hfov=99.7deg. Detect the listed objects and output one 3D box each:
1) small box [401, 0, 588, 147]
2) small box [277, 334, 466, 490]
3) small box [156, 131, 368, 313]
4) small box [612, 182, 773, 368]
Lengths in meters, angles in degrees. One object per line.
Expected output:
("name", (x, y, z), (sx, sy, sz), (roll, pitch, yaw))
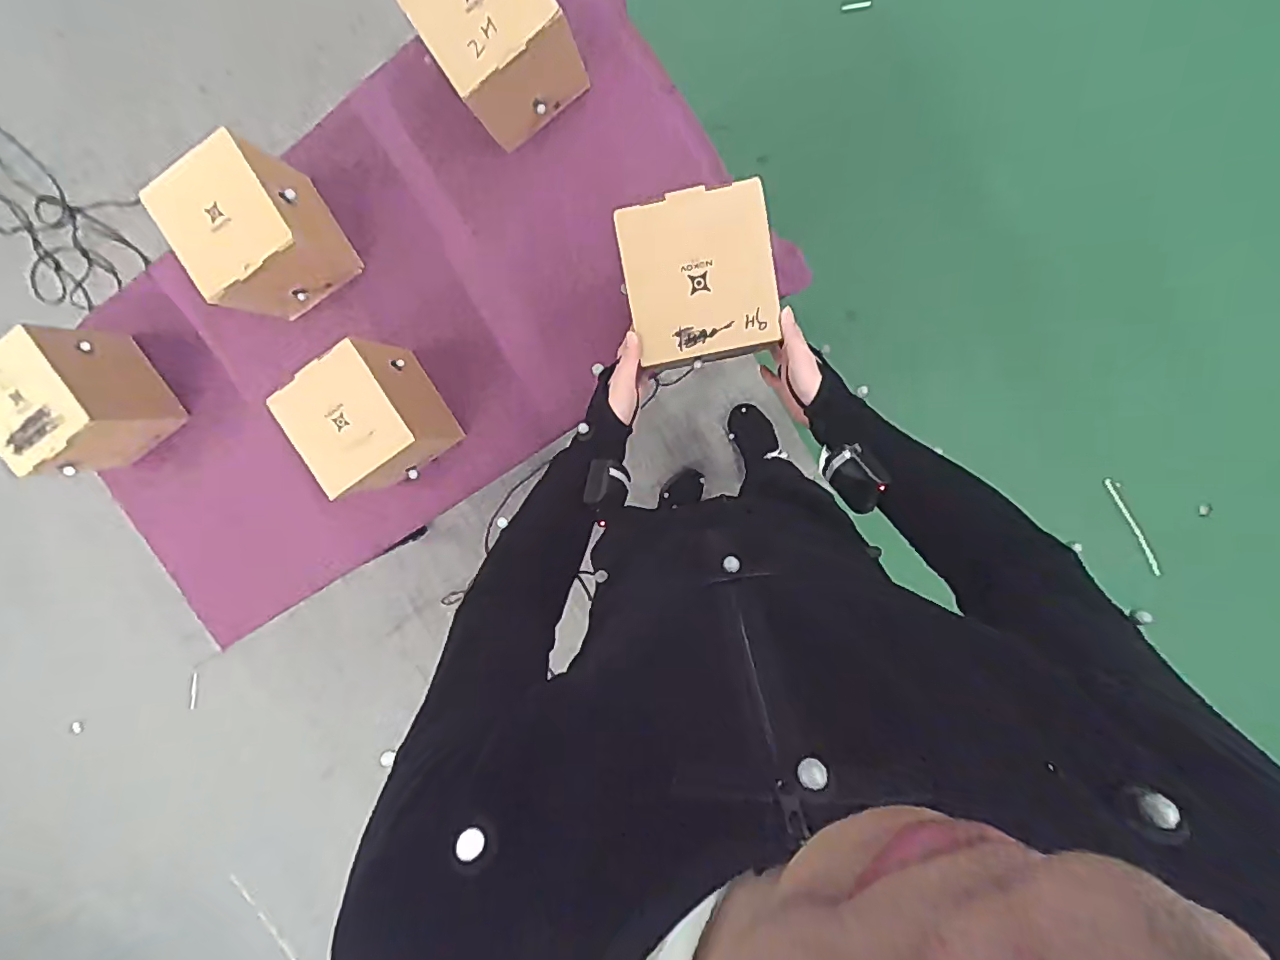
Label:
("small box", (-0.200, -0.627, 0.770), (0.168, 0.176, 0.179), (-33, 93, 13))
("small box", (-0.418, -0.106, 0.870), (0.168, 0.176, 0.179), (-32, 92, 11))
("small box", (-0.580, -0.389, 0.853), (0.168, 0.176, 0.179), (-30, 95, 9))
("small box", (0.069, -0.244, 0.689), (0.168, 0.176, 0.179), (-8, 100, 9))
